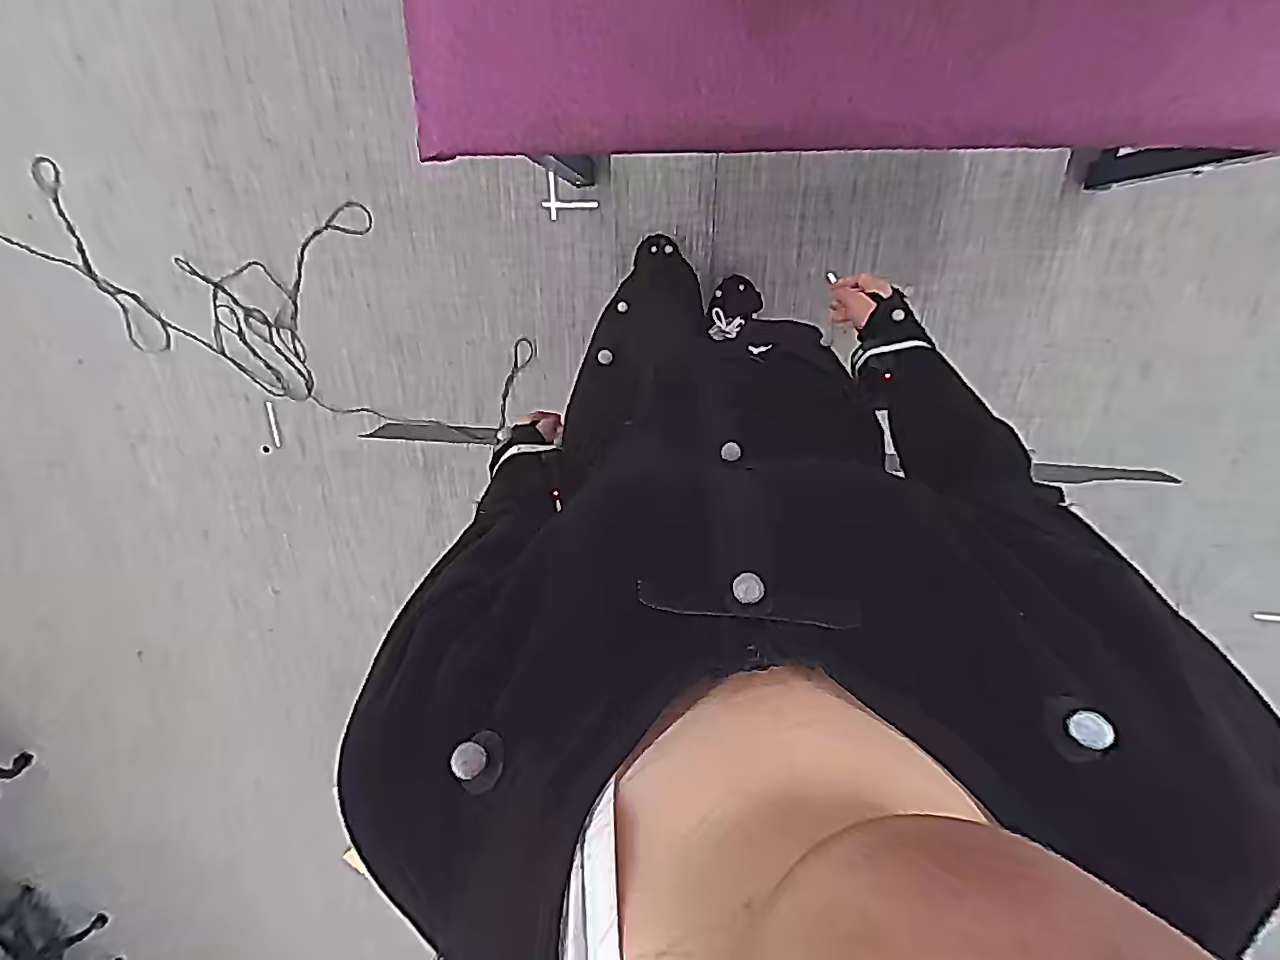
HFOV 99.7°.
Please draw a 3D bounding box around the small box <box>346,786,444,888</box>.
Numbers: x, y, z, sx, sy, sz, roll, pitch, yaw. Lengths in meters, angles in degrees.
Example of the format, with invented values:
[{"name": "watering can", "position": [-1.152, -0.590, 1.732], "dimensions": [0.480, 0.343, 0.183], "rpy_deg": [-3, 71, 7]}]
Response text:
[{"name": "small box", "position": [-0.733, 1.077, 1.638], "dimensions": [0.168, 0.176, 0.179], "rpy_deg": [-39, 102, 17]}]
